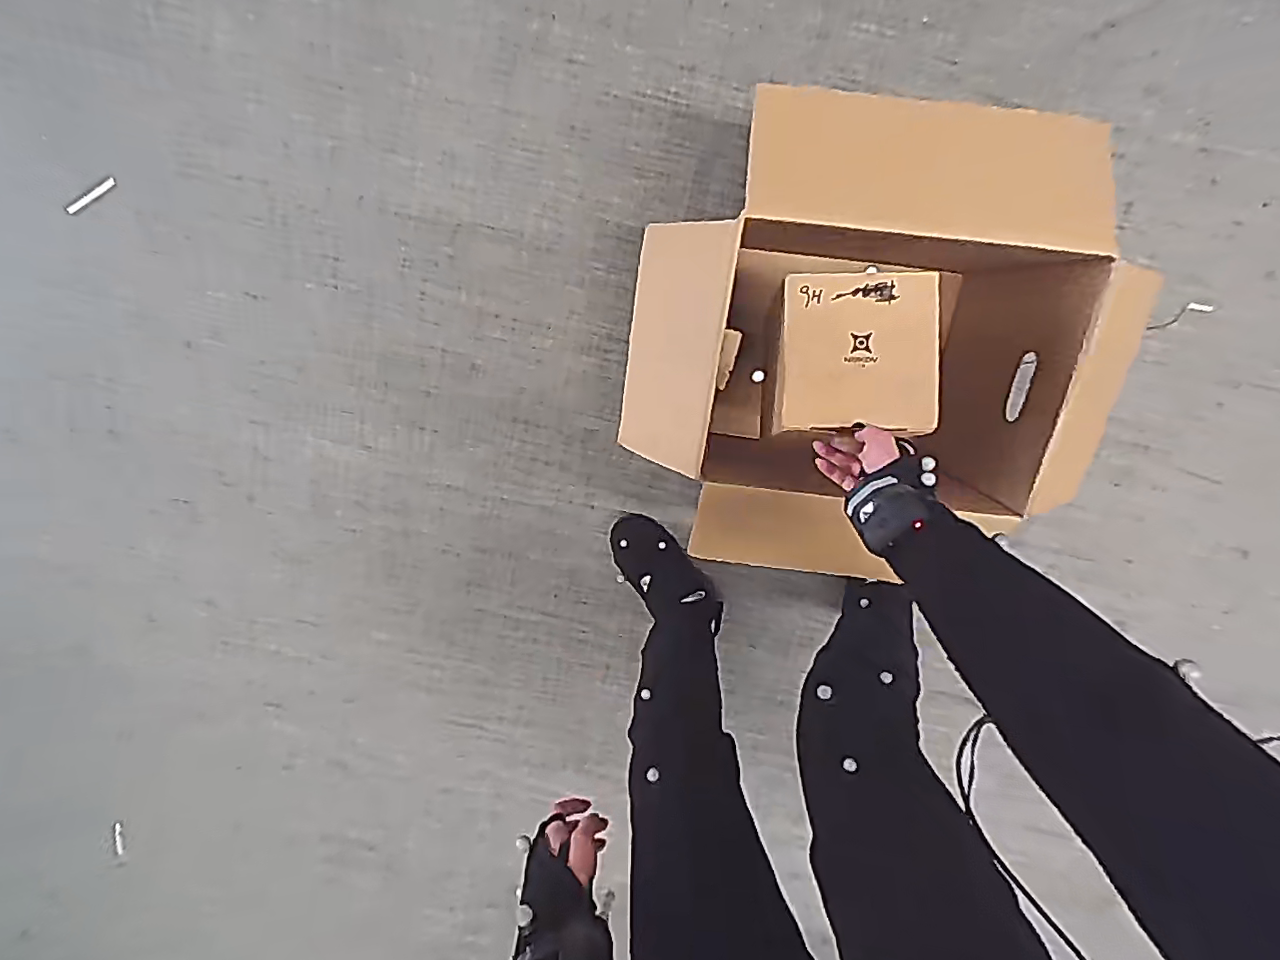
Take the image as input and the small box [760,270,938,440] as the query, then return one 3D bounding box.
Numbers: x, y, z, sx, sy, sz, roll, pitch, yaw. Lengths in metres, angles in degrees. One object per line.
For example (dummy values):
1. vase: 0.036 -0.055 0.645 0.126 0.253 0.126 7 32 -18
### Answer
1. small box: 0.246 -0.143 0.674 0.168 0.176 0.179 3 89 5
